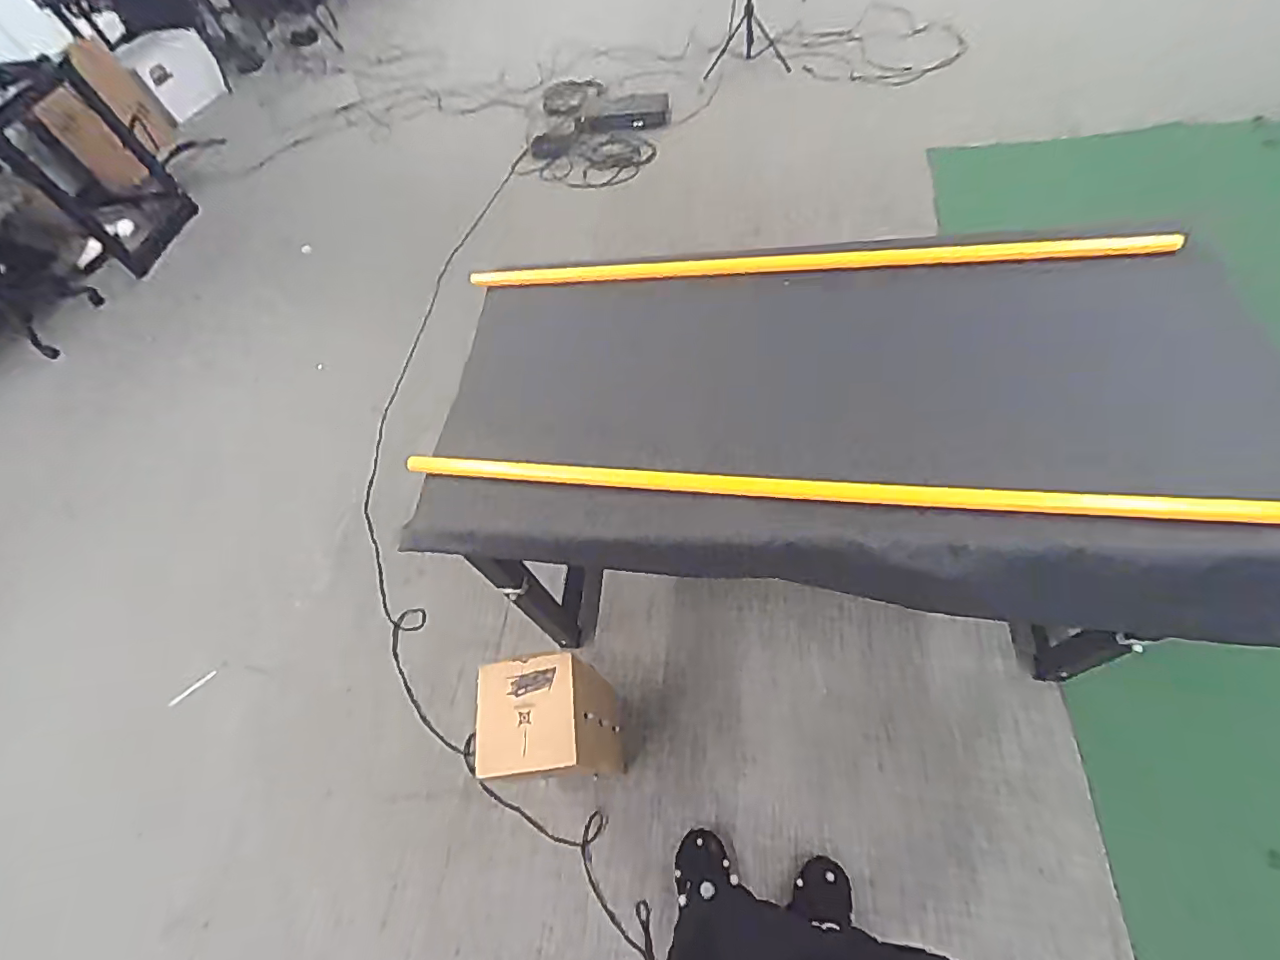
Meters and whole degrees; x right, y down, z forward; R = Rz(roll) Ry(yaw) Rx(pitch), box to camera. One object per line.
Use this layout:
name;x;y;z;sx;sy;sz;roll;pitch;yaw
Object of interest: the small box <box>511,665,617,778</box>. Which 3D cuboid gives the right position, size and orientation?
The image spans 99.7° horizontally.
small box;-0.151;0.495;1.099;0.168;0.176;0.179;-14;57;4
